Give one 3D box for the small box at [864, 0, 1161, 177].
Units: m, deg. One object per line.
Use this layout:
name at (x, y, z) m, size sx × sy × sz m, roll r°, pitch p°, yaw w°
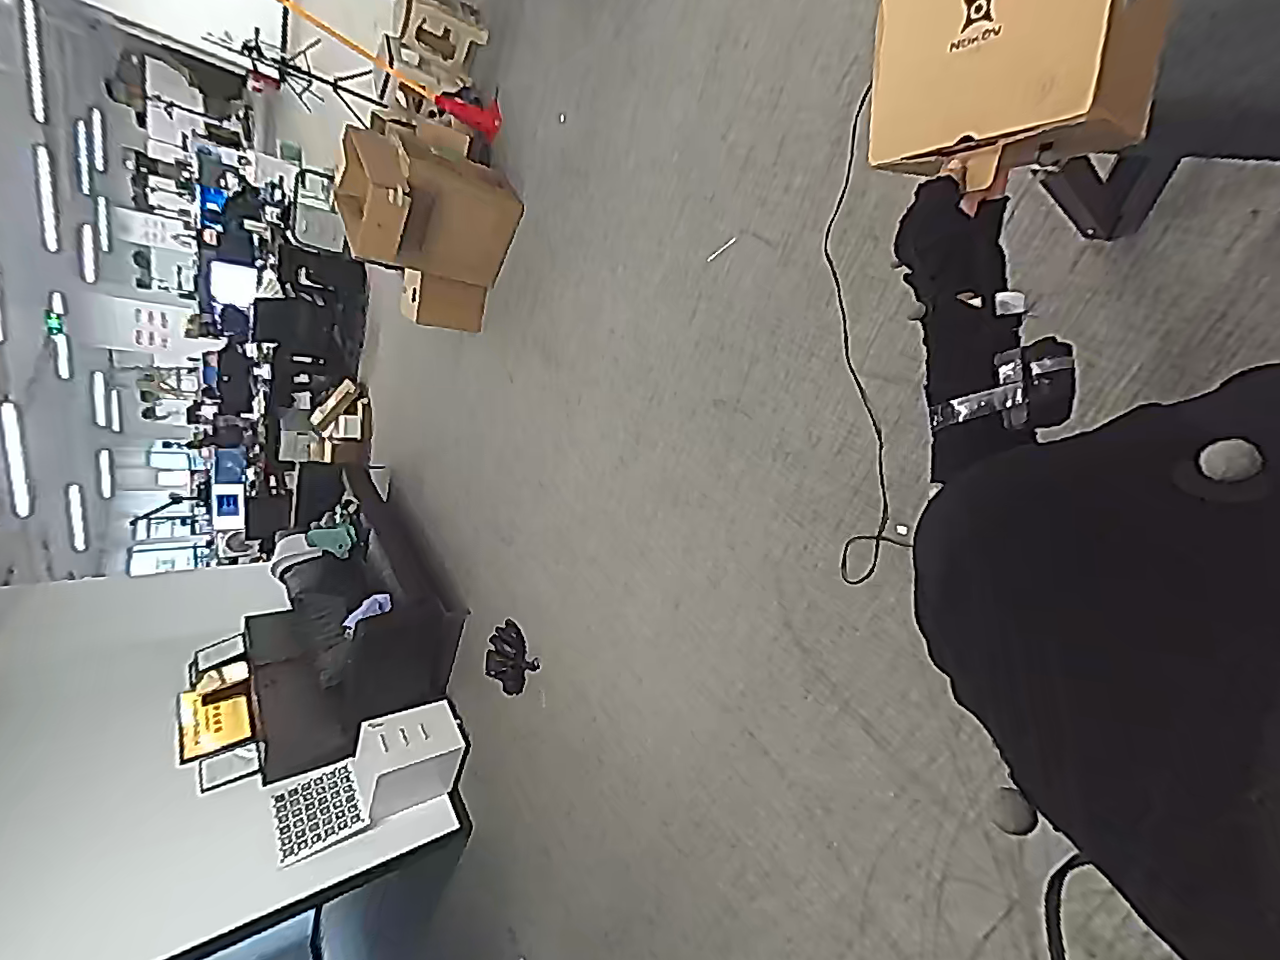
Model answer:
small box at (0.311, -0.368, 0.454) m, size 0.168 × 0.176 × 0.179 m, roll 16°, pitch 117°, yaw 48°
